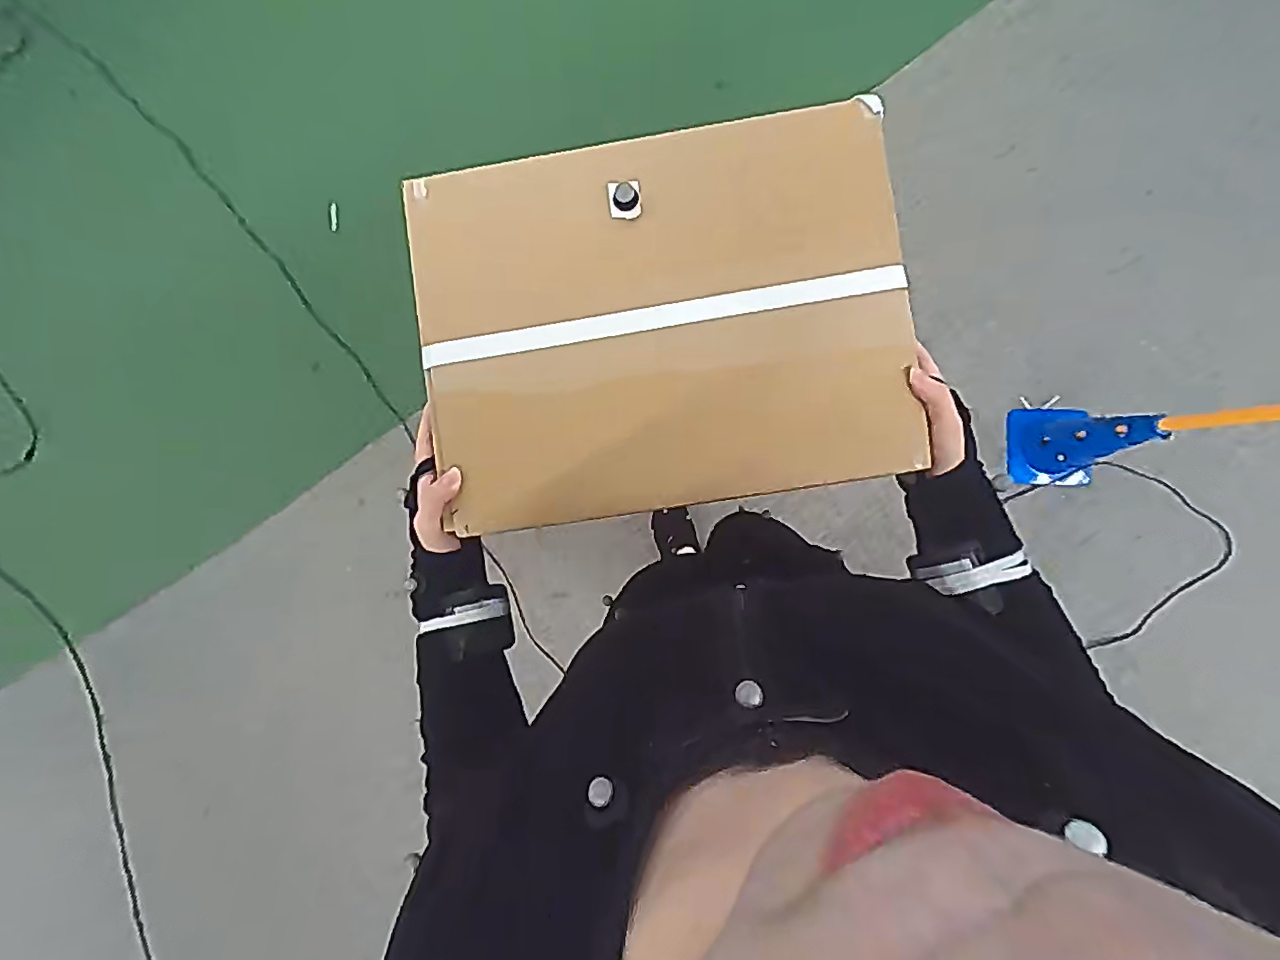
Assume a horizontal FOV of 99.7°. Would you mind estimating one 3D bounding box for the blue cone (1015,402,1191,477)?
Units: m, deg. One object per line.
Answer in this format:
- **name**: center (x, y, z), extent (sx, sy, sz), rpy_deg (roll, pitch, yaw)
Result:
- **blue cone**: center (1.049, -0.116, 1.223), extent (0.192, 0.380, 0.193), rpy_deg (-1, 85, 6)
